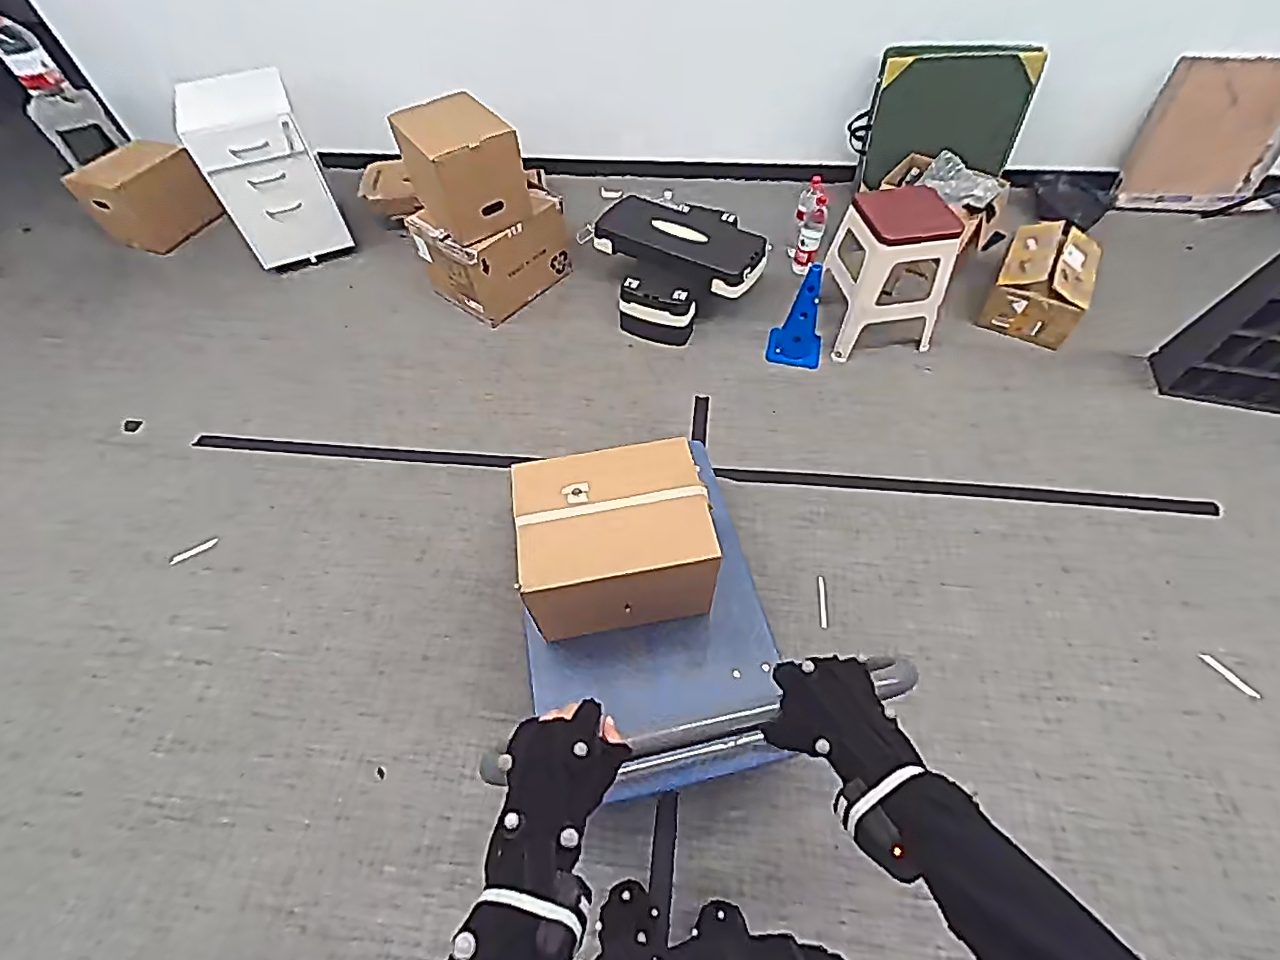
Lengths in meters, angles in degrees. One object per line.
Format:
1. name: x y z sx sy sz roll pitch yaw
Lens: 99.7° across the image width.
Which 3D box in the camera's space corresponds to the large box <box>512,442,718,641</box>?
1. large box: -0.057 0.152 1.274 0.408 0.320 0.320 -11 56 -4
